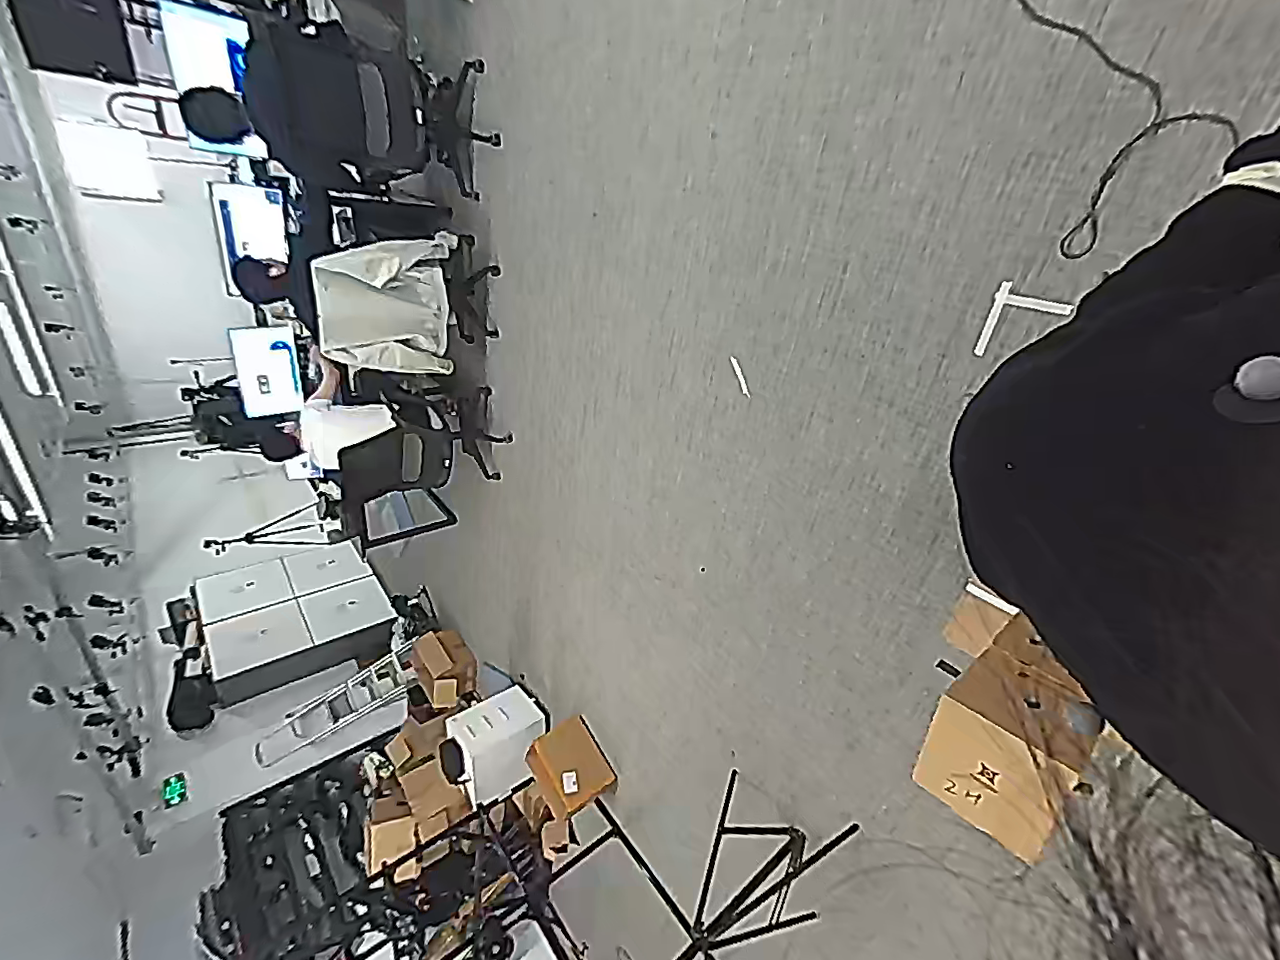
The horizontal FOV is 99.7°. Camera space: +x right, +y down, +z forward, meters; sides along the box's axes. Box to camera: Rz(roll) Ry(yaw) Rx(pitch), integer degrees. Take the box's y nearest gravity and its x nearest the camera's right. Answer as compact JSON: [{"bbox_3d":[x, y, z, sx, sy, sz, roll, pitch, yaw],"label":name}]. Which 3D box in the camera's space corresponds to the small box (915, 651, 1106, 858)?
[{"bbox_3d":[0.543,0.385,0.794,0.168,0.176,0.179,28,122,44],"label":"small box"}]

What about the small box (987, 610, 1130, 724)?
[{"bbox_3d":[0.666,0.346,0.896,0.168,0.176,0.179,32,127,42],"label":"small box"}]
